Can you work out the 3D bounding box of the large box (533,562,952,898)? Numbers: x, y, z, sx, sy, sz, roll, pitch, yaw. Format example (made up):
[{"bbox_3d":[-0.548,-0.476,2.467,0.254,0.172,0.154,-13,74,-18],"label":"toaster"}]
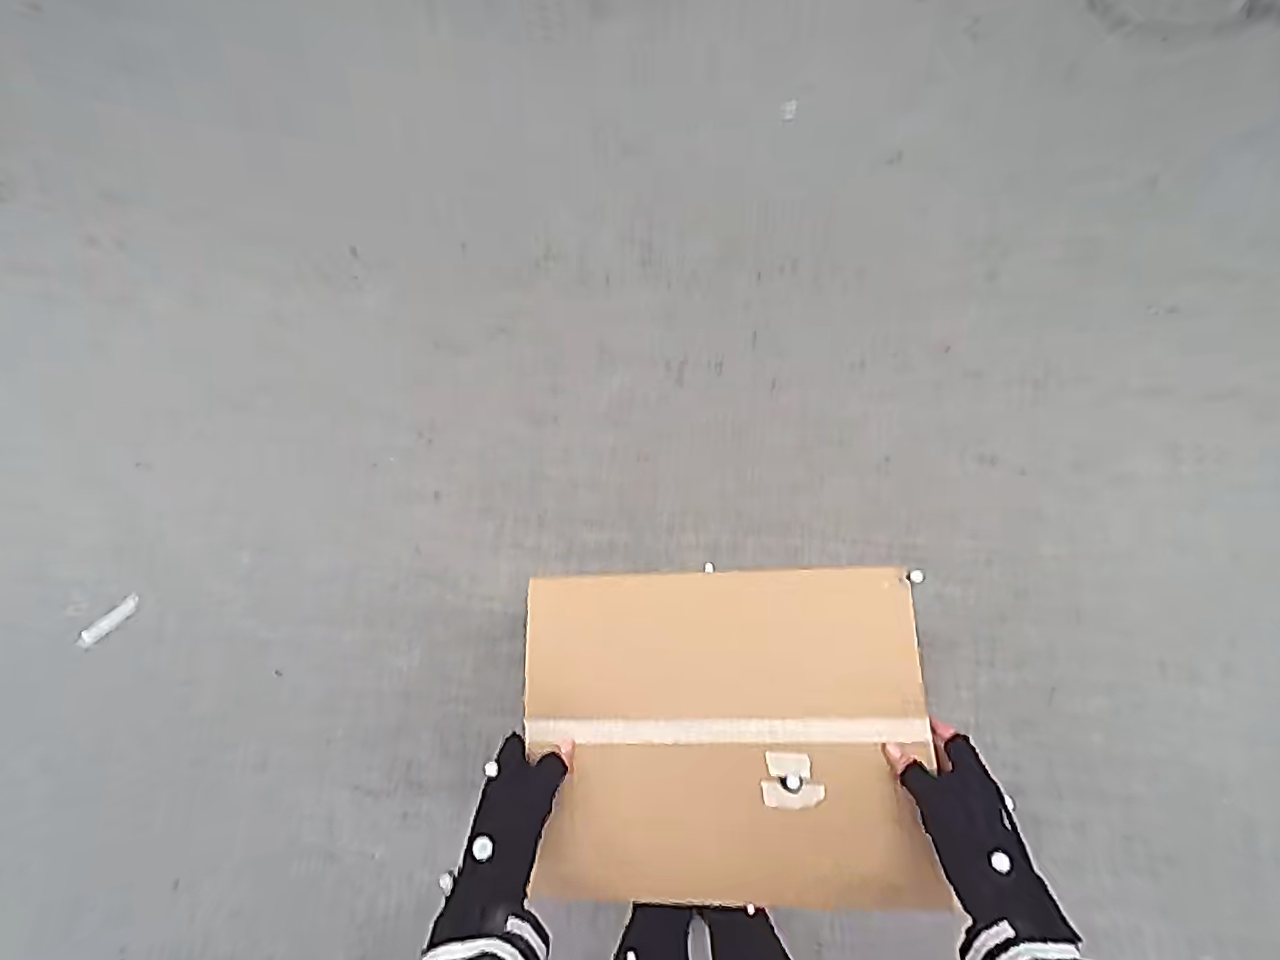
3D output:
[{"bbox_3d":[0.100,0.281,0.692,0.408,0.320,0.320,-3,78,6],"label":"large box"}]
